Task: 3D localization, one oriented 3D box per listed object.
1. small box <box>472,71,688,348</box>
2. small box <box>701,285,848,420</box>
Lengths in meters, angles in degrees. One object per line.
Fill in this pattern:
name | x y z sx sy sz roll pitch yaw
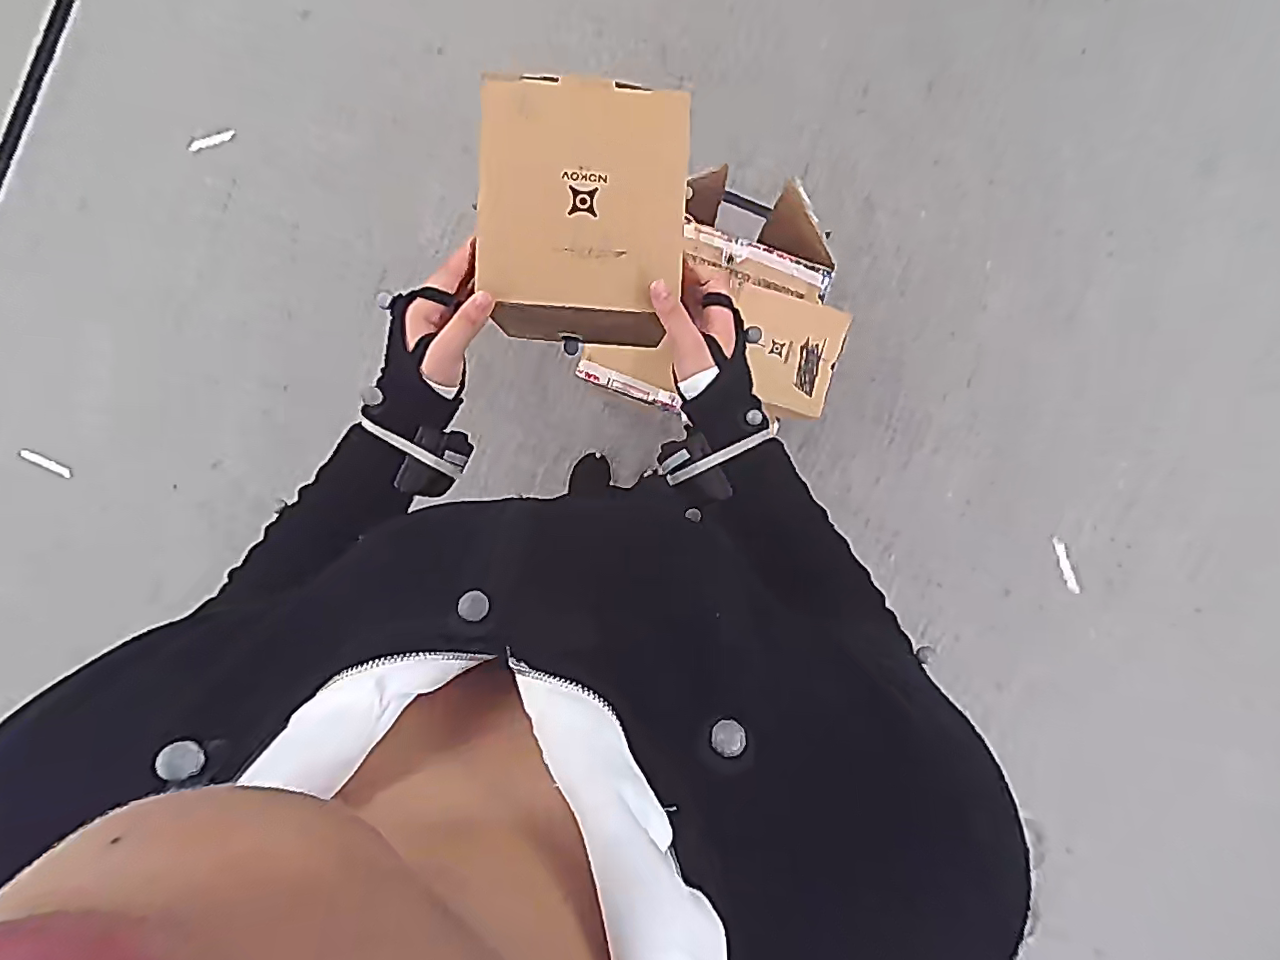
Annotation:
small box | -0.054 -0.231 0.507 0.168 0.176 0.179 2 95 -5
small box | 0.214 -0.203 0.909 0.179 0.176 0.168 17 95 0
